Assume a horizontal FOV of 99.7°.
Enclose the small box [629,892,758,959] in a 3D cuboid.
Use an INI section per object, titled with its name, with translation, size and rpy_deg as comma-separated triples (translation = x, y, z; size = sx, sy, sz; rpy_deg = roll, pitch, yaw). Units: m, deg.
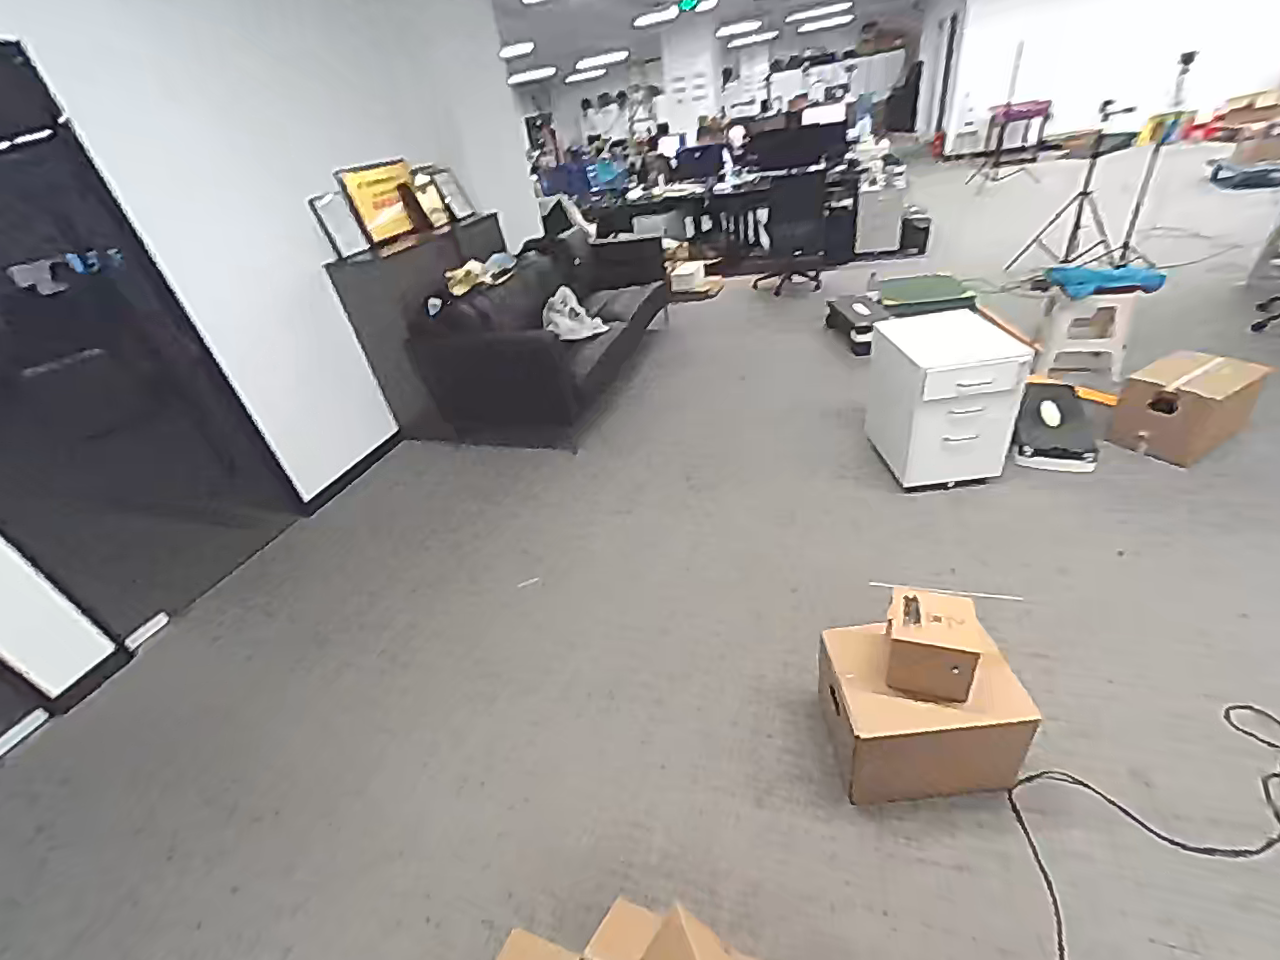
[small box]
translation = 0.054, 0.508, 0.455
size = 0.168, 0.176, 0.179
rpy_deg = 37, 70, 10
